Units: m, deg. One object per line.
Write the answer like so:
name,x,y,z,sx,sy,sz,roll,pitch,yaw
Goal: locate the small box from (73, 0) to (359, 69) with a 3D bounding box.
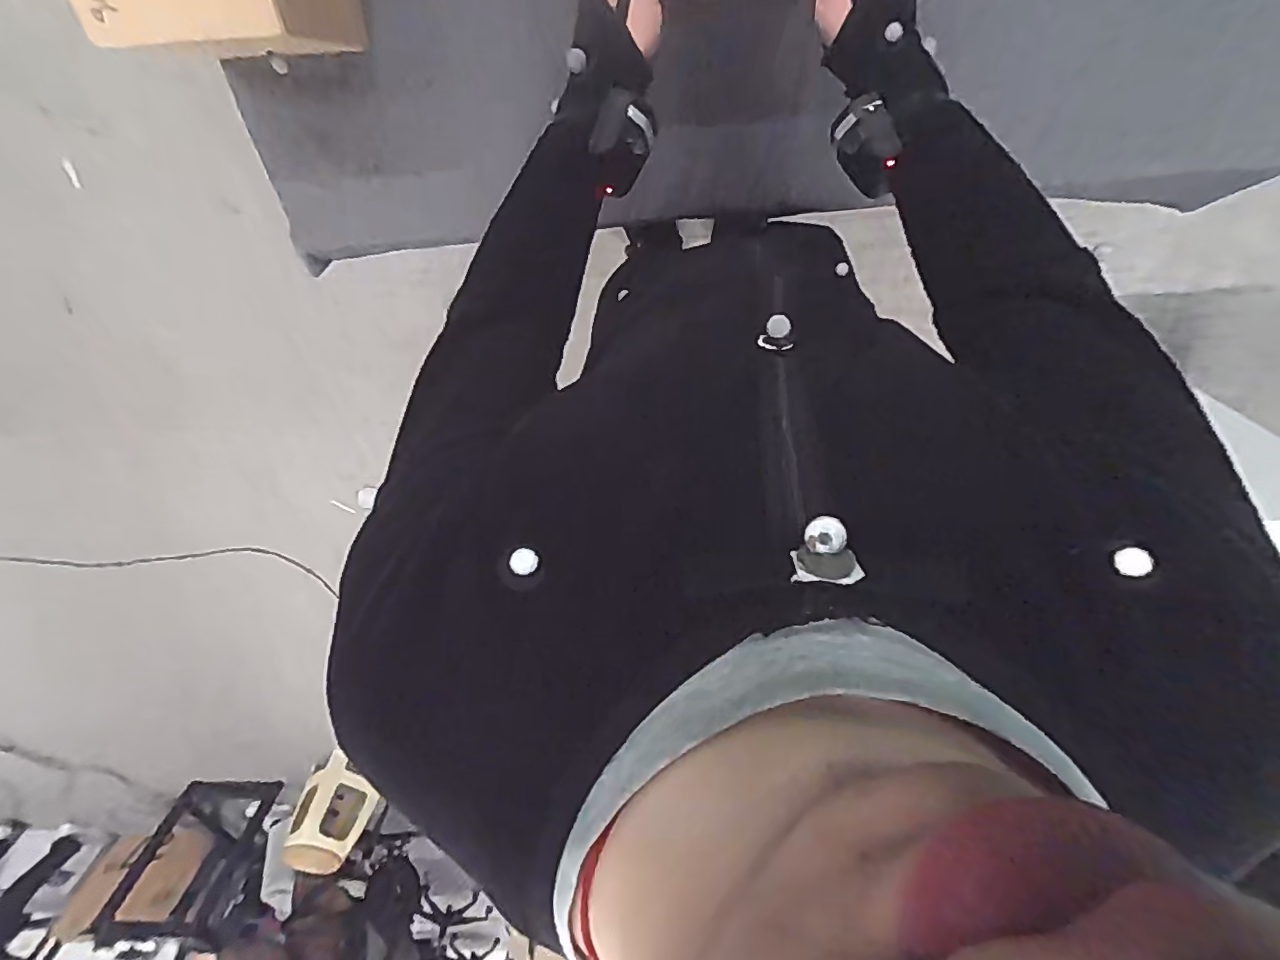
small box,-0.384,-0.479,0.486,0.179,0.176,0.168,-1,125,4
